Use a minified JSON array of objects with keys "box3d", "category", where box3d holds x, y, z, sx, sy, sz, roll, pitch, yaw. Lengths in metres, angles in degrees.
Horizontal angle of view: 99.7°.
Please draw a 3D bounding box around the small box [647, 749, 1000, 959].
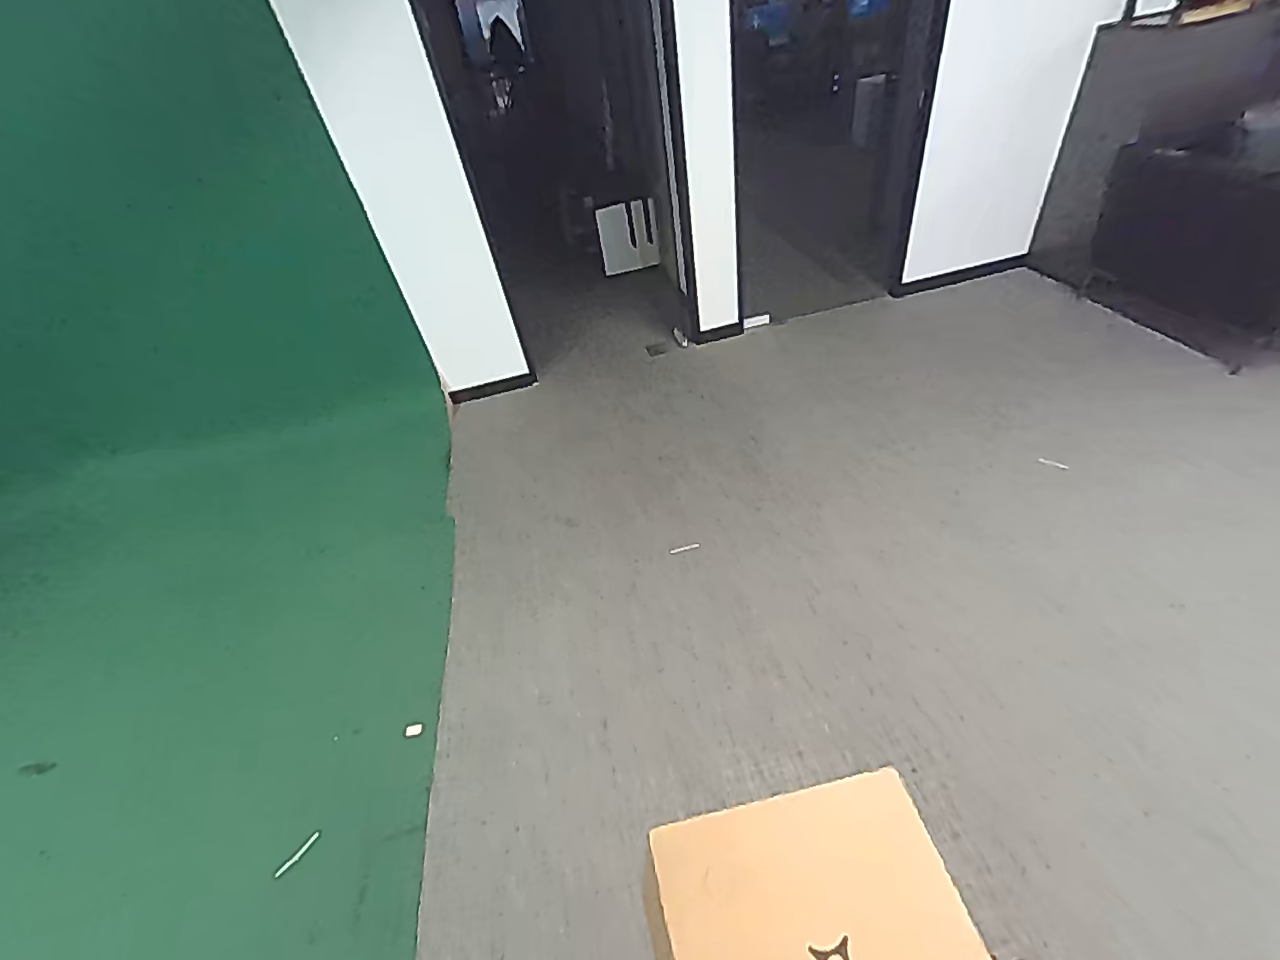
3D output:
[{"box3d":[0.104,0.307,0.348,0.168,0.176,0.179,-8,47,-11],"category":"small box"}]
